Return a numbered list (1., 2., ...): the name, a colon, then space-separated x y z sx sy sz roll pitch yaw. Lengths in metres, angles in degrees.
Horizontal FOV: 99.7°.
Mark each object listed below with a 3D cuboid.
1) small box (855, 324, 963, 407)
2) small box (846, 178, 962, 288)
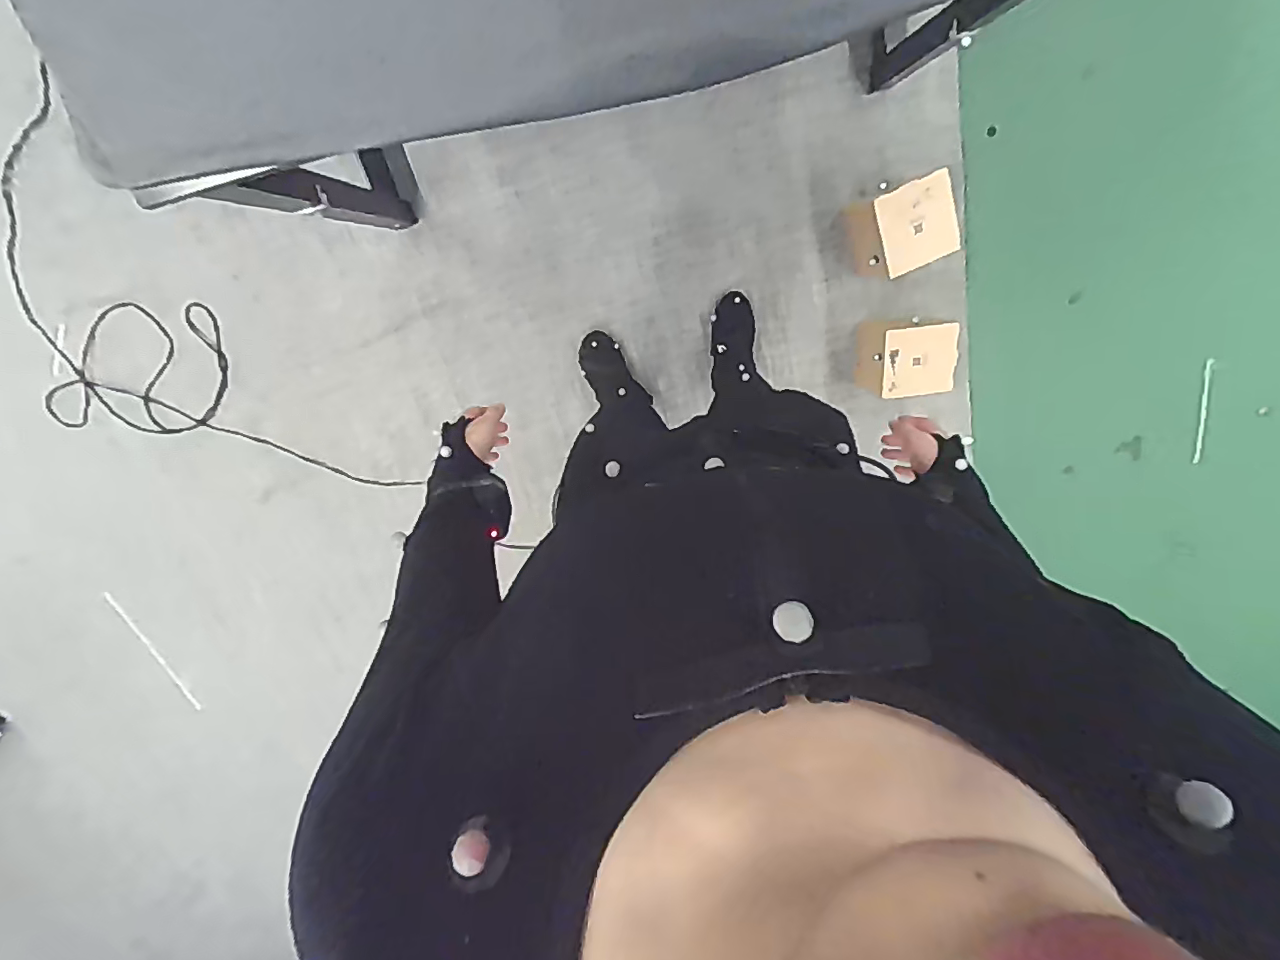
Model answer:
1. small box: 0.661 -0.289 1.346 0.179 0.176 0.168 -6 112 0
2. small box: 0.600 -0.559 1.240 0.168 0.176 0.179 -22 110 5
